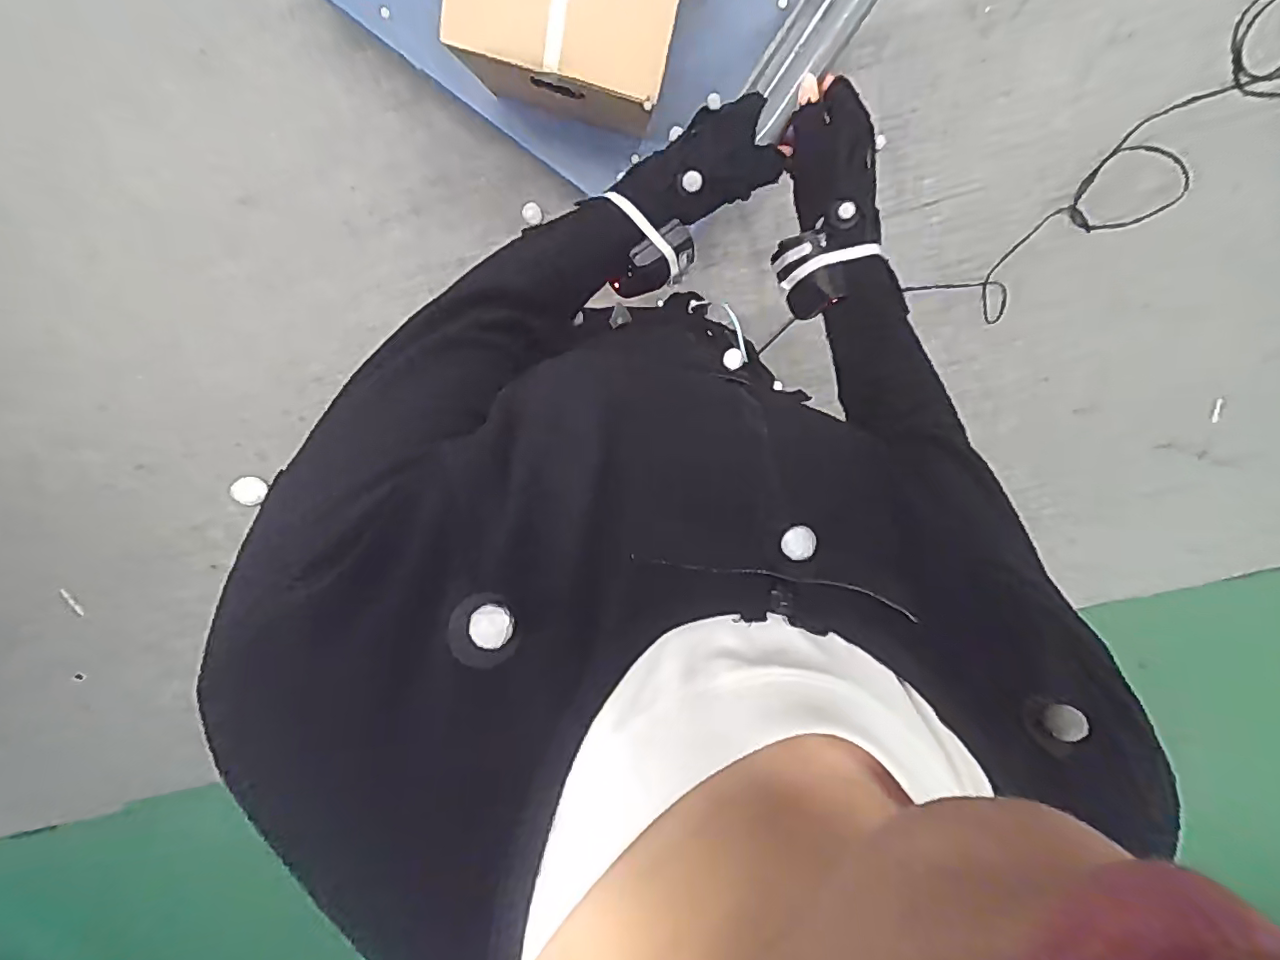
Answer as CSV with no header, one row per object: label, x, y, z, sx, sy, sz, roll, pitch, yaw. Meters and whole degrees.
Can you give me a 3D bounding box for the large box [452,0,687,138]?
large box,-0.076,-0.810,0.829,0.320,0.320,0.408,13,115,-6
